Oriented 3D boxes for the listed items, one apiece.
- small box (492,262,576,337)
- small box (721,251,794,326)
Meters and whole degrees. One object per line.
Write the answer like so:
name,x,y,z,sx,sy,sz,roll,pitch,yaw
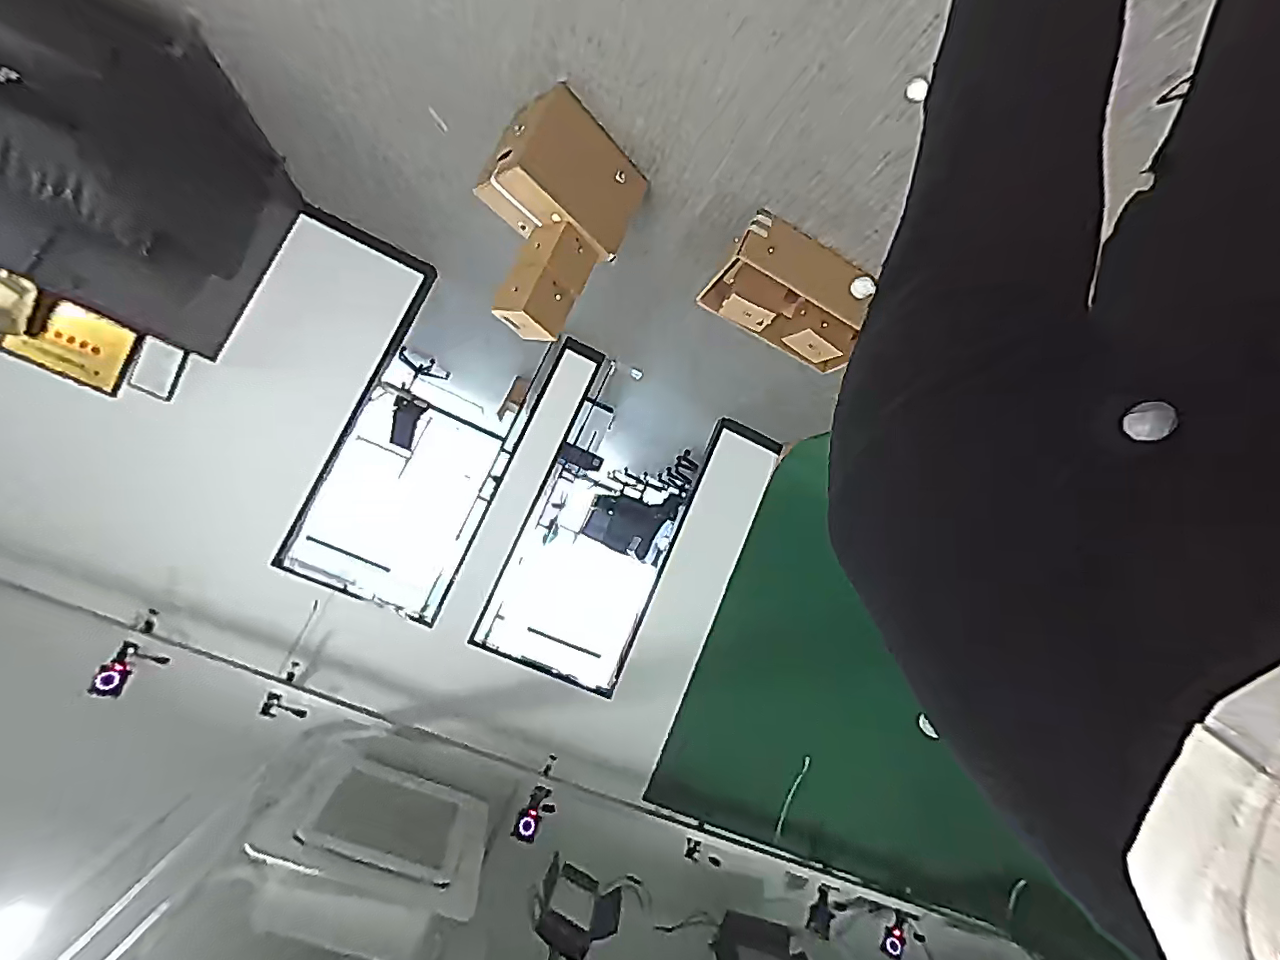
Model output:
small box,-0.339,-0.586,1.759,0.179,0.176,0.168,15,168,38
small box,0.424,-0.693,1.948,0.179,0.176,0.168,24,171,-6
